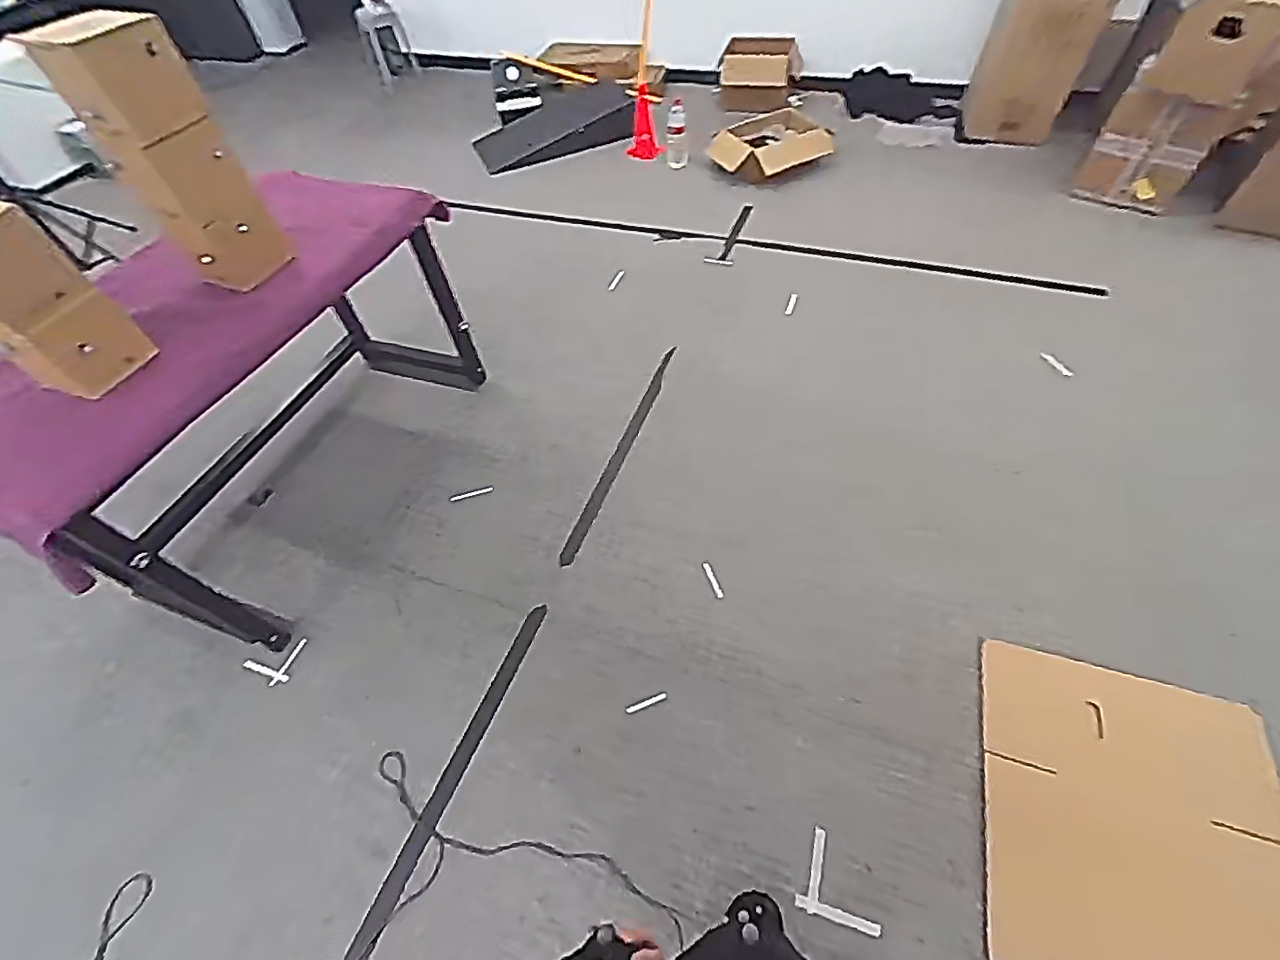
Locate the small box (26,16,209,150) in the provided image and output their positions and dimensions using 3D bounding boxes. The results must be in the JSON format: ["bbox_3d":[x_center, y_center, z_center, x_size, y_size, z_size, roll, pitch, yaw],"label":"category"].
[{"bbox_3d":[-1.023,-0.795,1.084,0.168,0.176,0.179,16,57,16],"label":"small box"}]

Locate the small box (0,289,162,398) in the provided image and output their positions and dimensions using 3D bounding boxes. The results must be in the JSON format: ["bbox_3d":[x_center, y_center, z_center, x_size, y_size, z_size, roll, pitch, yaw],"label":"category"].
[{"bbox_3d":[-1.184,-0.294,1.140,0.179,0.176,0.168,14,56,15],"label":"small box"}]

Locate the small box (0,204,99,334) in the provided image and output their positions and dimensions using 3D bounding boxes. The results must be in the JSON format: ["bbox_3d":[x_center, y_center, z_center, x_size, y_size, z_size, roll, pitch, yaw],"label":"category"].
[{"bbox_3d":[-1.203,-0.394,1.010,0.179,0.176,0.168,12,56,15],"label":"small box"}]

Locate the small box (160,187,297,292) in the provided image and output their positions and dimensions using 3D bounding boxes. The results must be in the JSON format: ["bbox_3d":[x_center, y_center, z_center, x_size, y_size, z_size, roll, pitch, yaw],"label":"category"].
[{"bbox_3d":[-1.009,-0.594,1.345,0.168,0.176,0.179,17,56,16],"label":"small box"}]
